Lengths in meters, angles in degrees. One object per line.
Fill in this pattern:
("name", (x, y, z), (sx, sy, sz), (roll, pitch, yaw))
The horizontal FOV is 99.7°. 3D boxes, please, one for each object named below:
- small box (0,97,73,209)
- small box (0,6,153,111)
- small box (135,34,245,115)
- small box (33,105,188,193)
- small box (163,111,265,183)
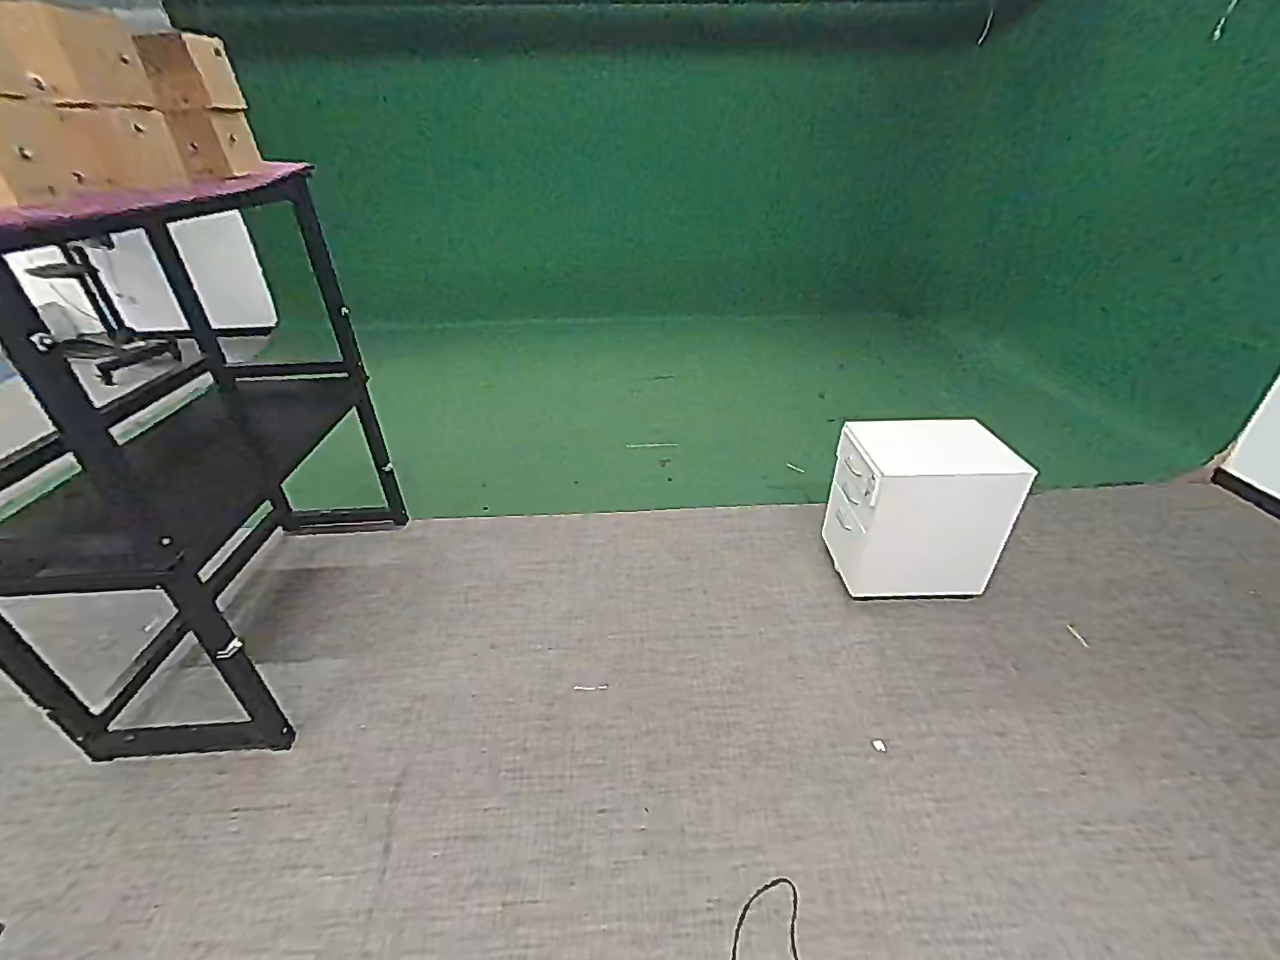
("small box", (-1.167, -0.567, 0.939), (0.179, 0.176, 0.168), (-8, 32, -13))
("small box", (-1.228, -0.909, 1.183), (0.168, 0.176, 0.179), (3, 33, 8))
("small box", (-1.252, -1.115, 1.503), (0.168, 0.176, 0.179), (-4, 33, 0))
("small box", (-1.227, -0.774, 1.274), (0.168, 0.176, 0.179), (-1, 32, -1))
("small box", (-1.256, -0.979, 1.593), (0.168, 0.176, 0.179), (-4, 34, 0))
